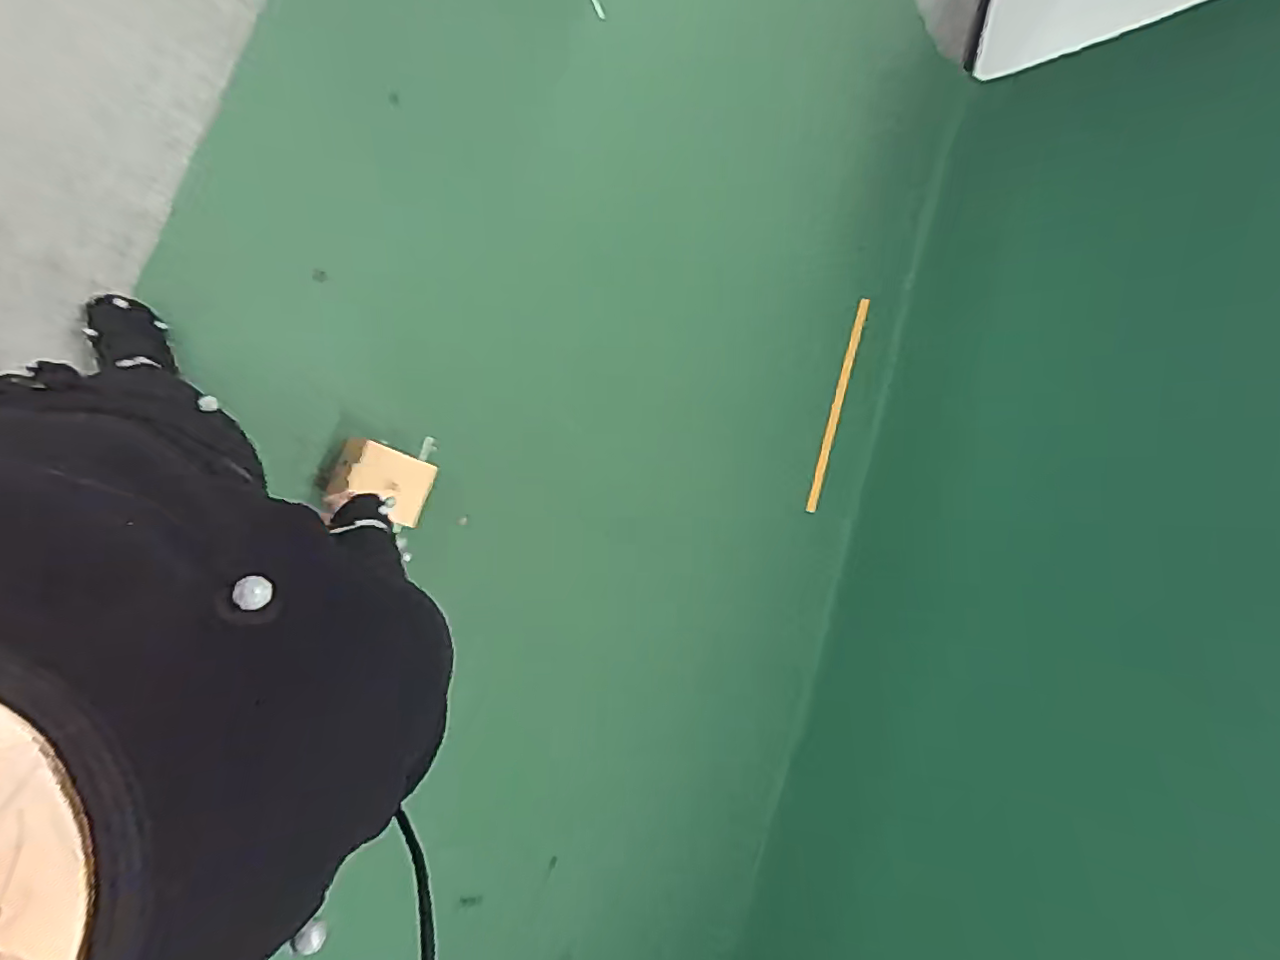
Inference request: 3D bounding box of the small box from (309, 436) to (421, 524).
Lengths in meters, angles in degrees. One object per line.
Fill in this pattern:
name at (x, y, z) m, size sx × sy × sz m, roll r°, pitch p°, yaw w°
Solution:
small box at (-0.688, -0.004, 1.352) m, size 0.179 × 0.176 × 0.168 m, roll 28°, pitch 78°, yaw -42°
